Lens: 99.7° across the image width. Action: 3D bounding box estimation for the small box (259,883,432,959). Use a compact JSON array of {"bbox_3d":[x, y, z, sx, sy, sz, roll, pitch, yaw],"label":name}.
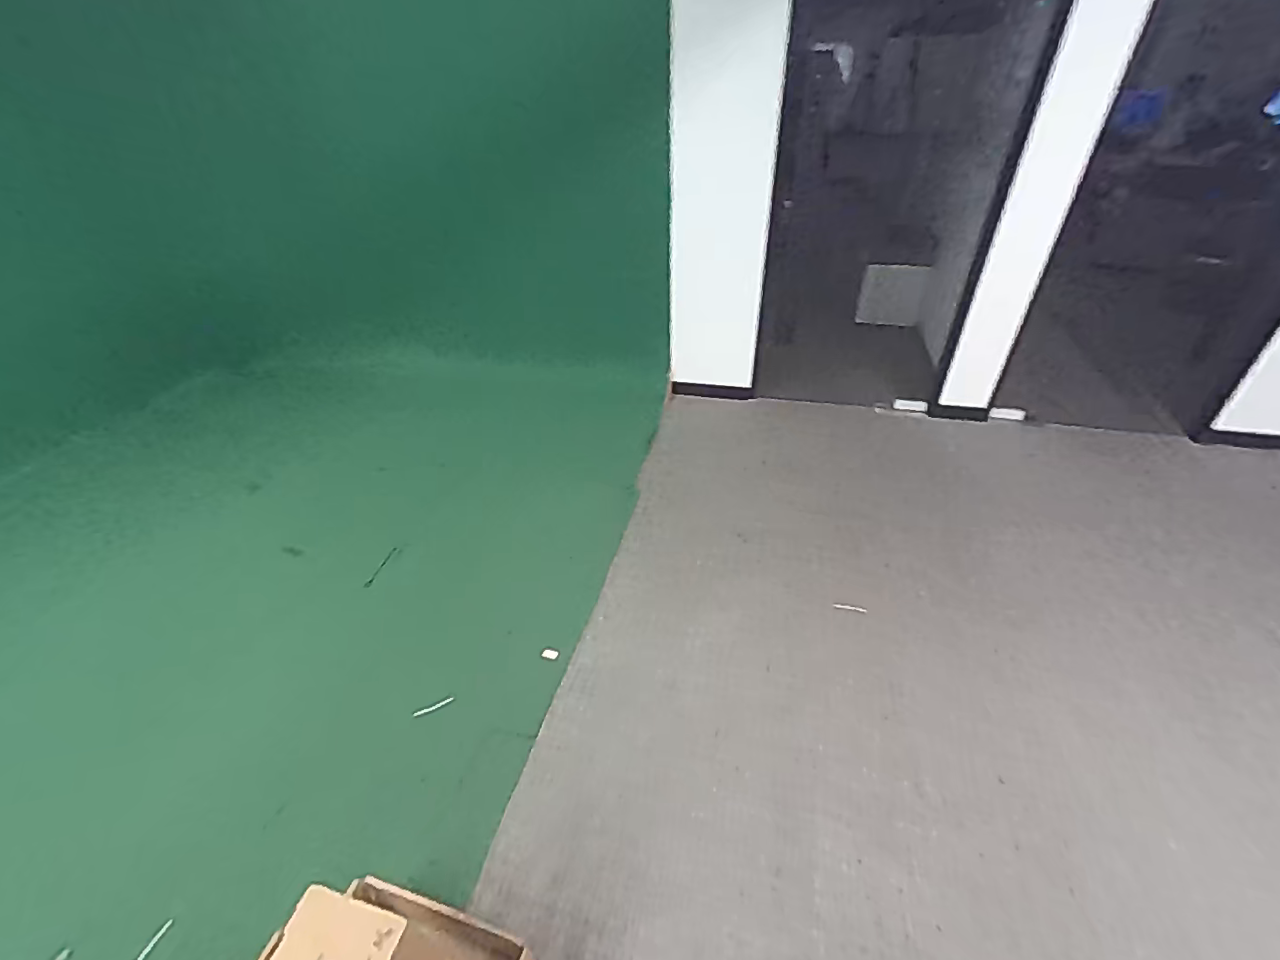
[{"bbox_3d":[-0.438,0.731,0.784,0.179,0.176,0.168,8,39,13],"label":"small box"}]
